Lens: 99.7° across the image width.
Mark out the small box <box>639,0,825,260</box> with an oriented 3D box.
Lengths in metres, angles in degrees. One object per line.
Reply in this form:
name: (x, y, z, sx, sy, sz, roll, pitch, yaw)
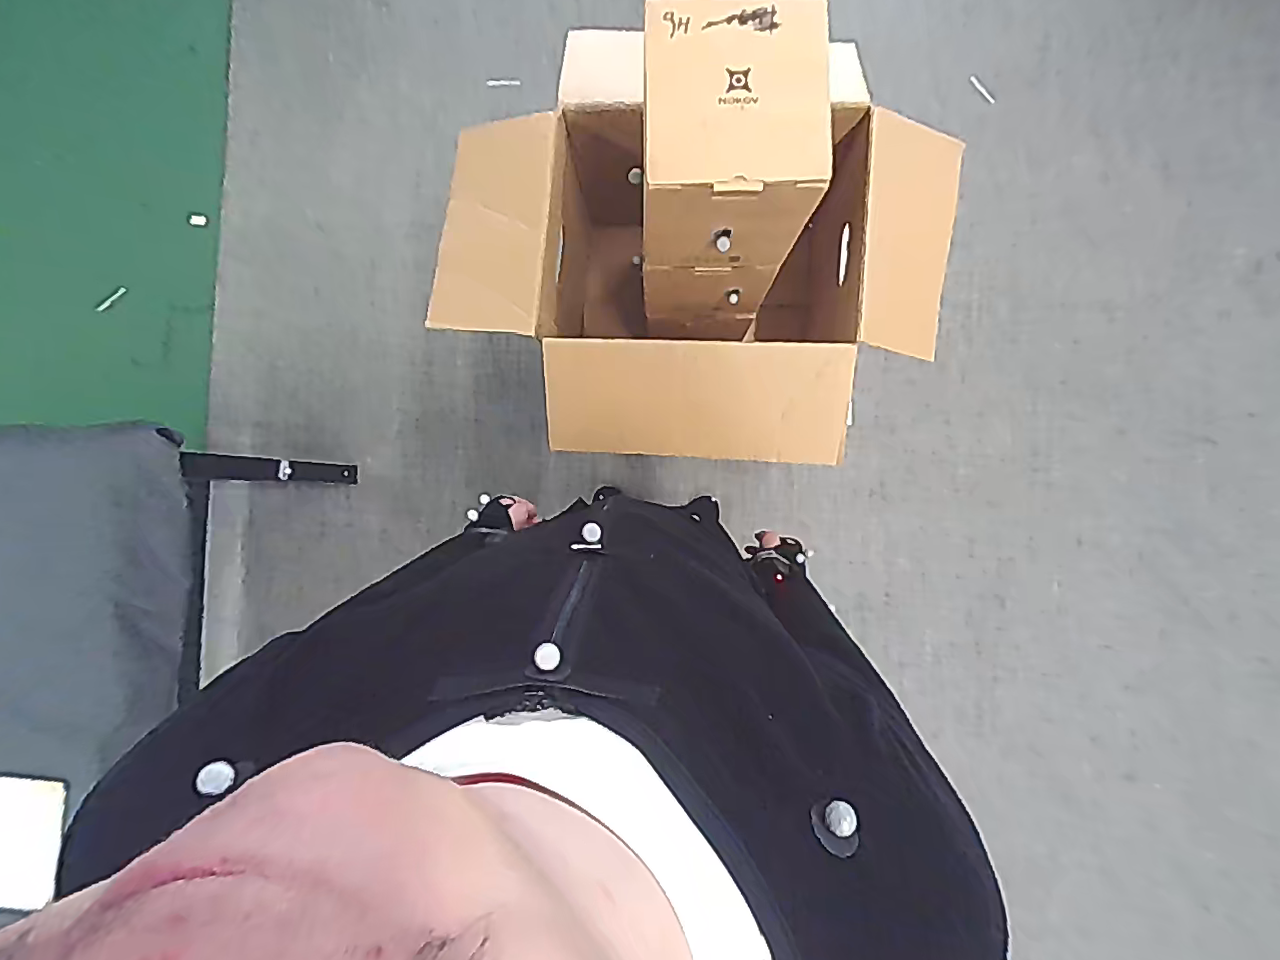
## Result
small box: (0.084, -0.346, 0.565, 0.168, 0.176, 0.179, 0, 89, -1)
